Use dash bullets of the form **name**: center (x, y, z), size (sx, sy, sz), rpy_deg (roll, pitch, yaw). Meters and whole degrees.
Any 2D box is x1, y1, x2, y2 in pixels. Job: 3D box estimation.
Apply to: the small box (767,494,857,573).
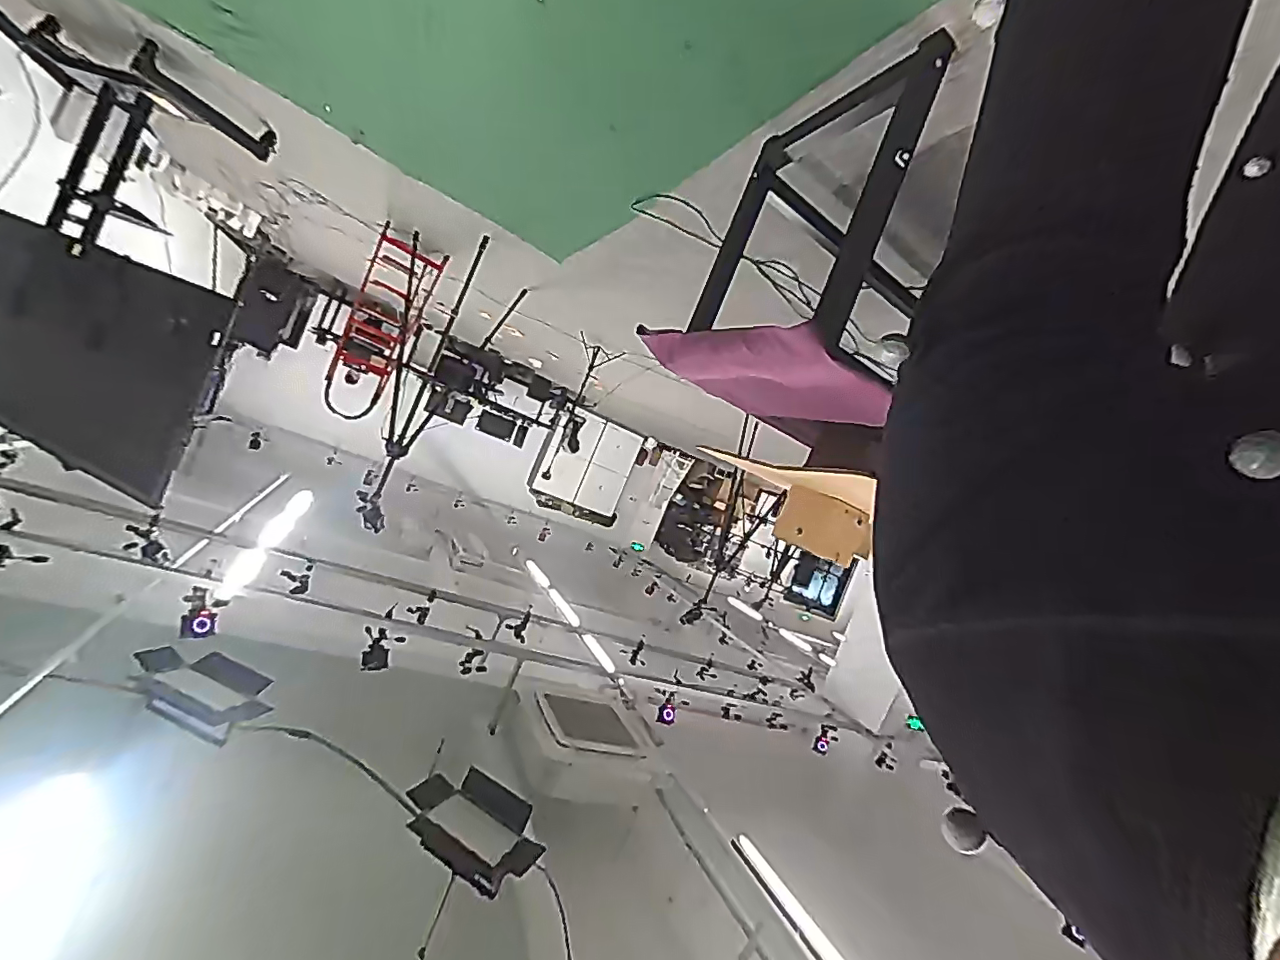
- **small box**: center (0.509, 0.151, 1.585), size (0.168, 0.176, 0.179), rpy_deg (23, 178, -27)
